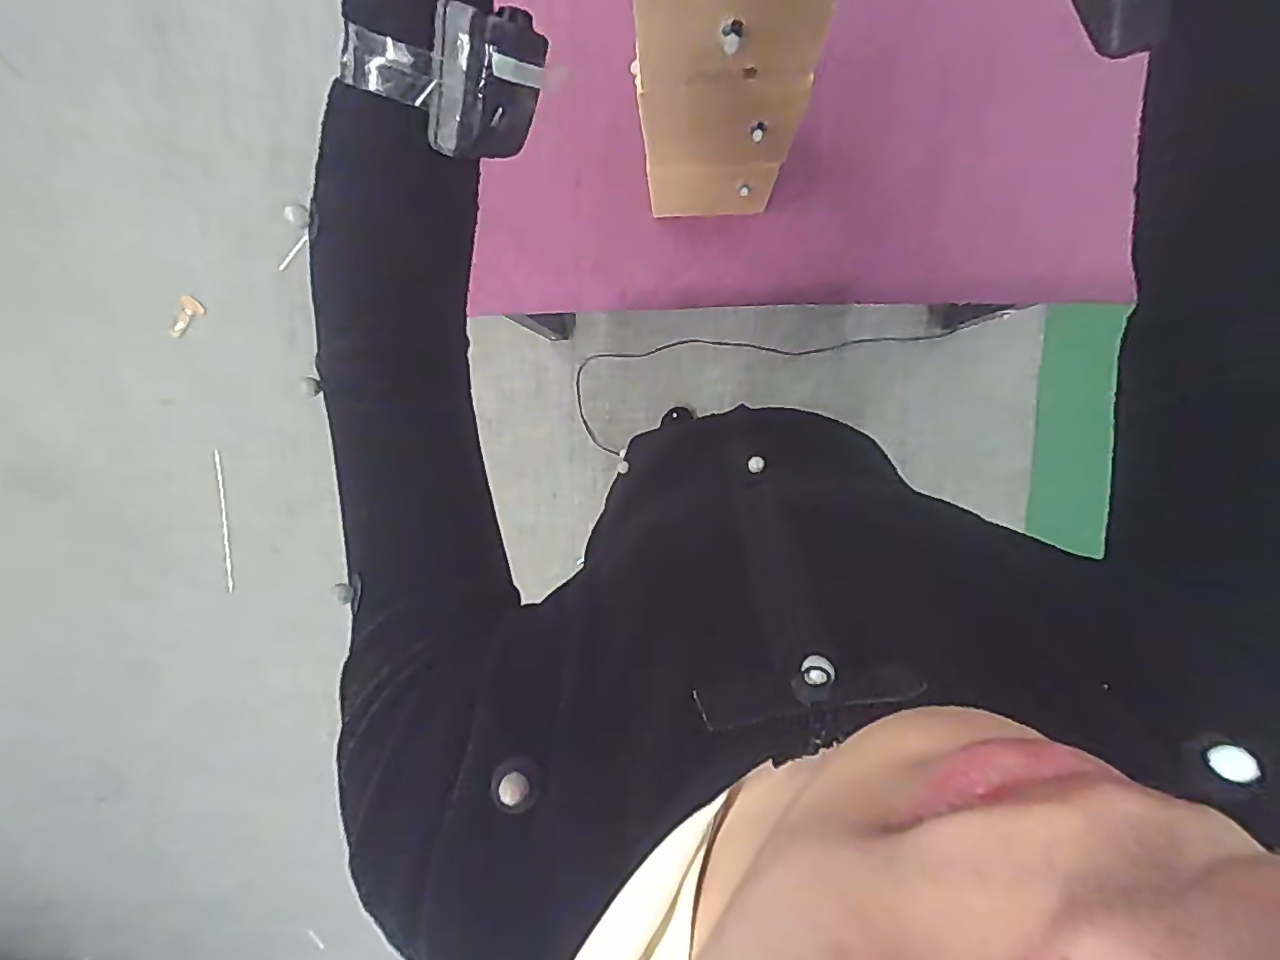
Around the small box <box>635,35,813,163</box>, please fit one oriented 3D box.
[{"bbox_3d":[0.088,-0.479,0.604,0.179,0.176,0.168,1,96,5],"label":"small box"}]

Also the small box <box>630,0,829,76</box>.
[{"bbox_3d":[0.074,-0.467,0.442,0.168,0.176,0.179,-1,97,4],"label":"small box"}]
